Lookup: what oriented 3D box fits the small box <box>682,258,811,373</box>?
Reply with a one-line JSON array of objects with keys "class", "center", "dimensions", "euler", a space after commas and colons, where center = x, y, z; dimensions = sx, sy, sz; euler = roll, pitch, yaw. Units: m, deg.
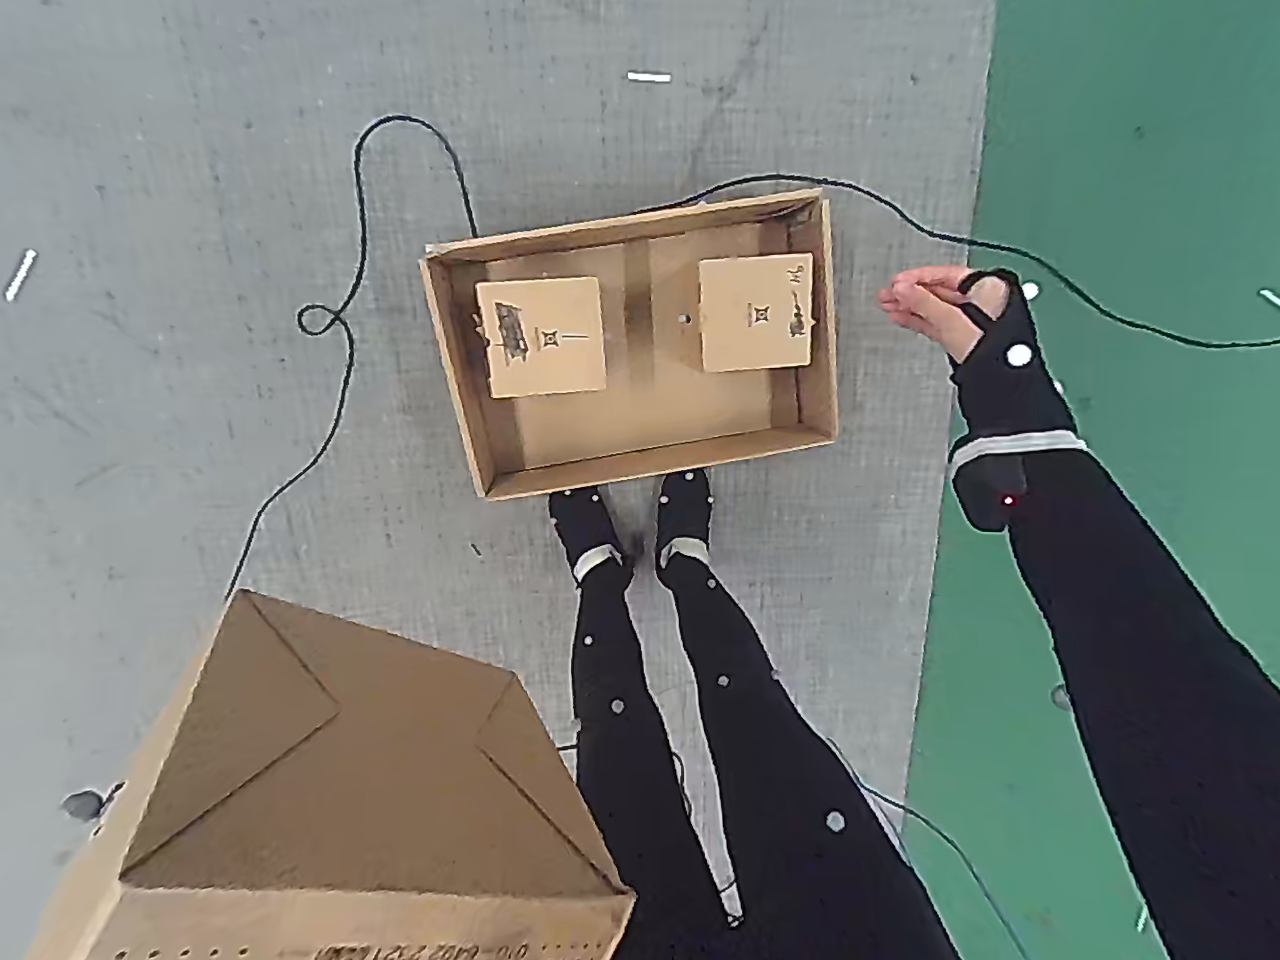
[{"class": "small box", "center": [0.165, -0.268, 0.896], "dimensions": [0.179, 0.176, 0.168], "euler": [-4, 106, -5]}]
